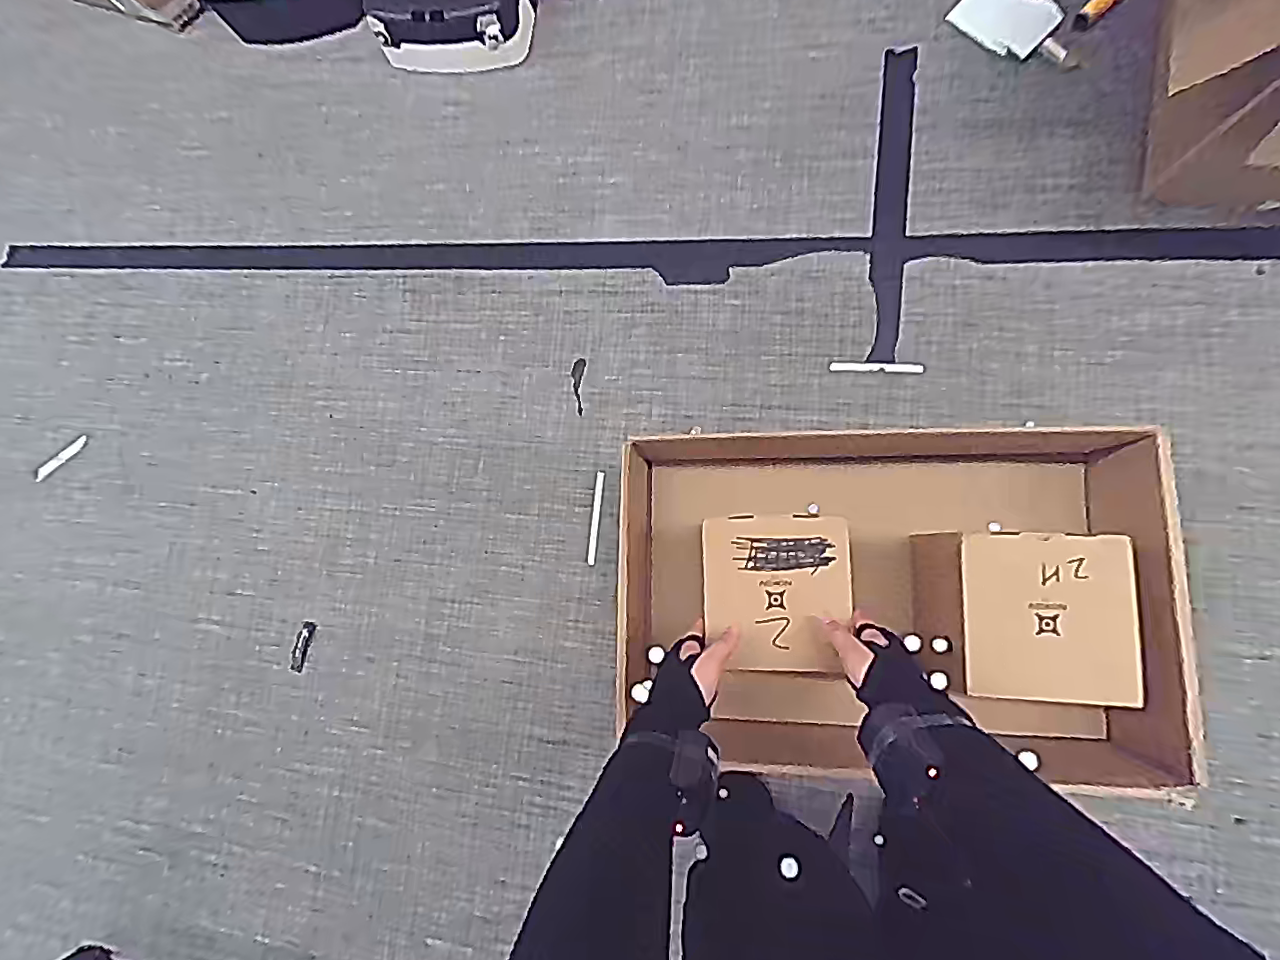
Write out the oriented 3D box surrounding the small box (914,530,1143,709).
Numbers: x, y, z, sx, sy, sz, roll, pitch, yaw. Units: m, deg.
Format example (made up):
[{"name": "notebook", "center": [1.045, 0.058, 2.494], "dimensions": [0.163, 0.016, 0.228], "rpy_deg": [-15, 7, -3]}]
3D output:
[{"name": "small box", "center": [0.441, 0.152, 0.643], "dimensions": [0.168, 0.176, 0.179], "rpy_deg": [1, 82, 9]}]
